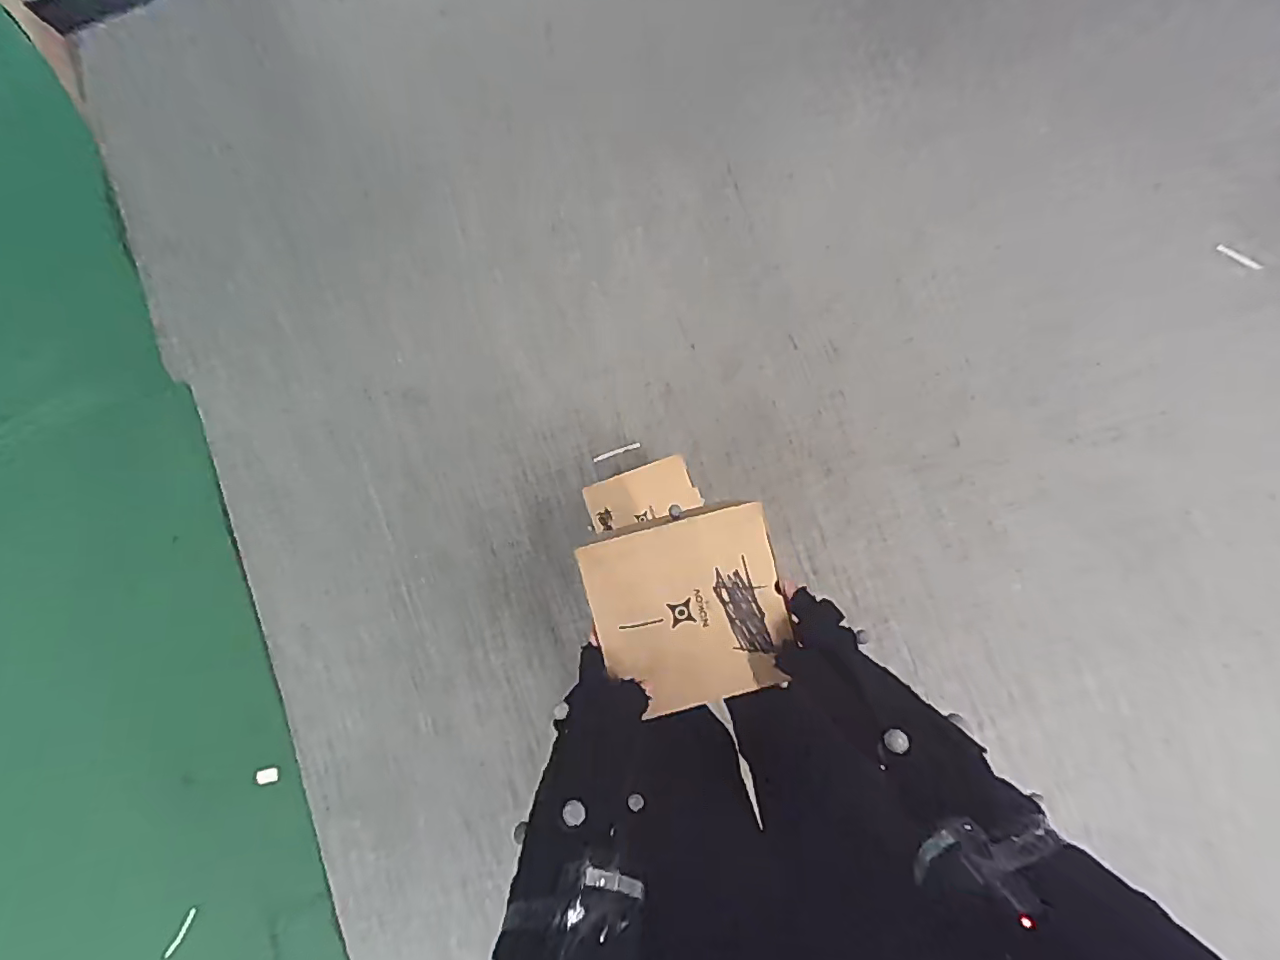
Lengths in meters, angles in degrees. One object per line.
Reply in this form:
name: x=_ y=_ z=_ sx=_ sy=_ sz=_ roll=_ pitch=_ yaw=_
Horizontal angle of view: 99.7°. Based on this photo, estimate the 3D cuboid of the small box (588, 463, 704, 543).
small box: x=0.023 y=0.078 z=0.948 sx=0.179 sy=0.176 sz=0.168 roll=-19 pitch=85 yaw=1

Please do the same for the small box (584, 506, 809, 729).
small box: x=0.049 y=0.127 z=0.576 sx=0.179 sy=0.176 sz=0.168 roll=-18 pitch=88 yaw=-2
